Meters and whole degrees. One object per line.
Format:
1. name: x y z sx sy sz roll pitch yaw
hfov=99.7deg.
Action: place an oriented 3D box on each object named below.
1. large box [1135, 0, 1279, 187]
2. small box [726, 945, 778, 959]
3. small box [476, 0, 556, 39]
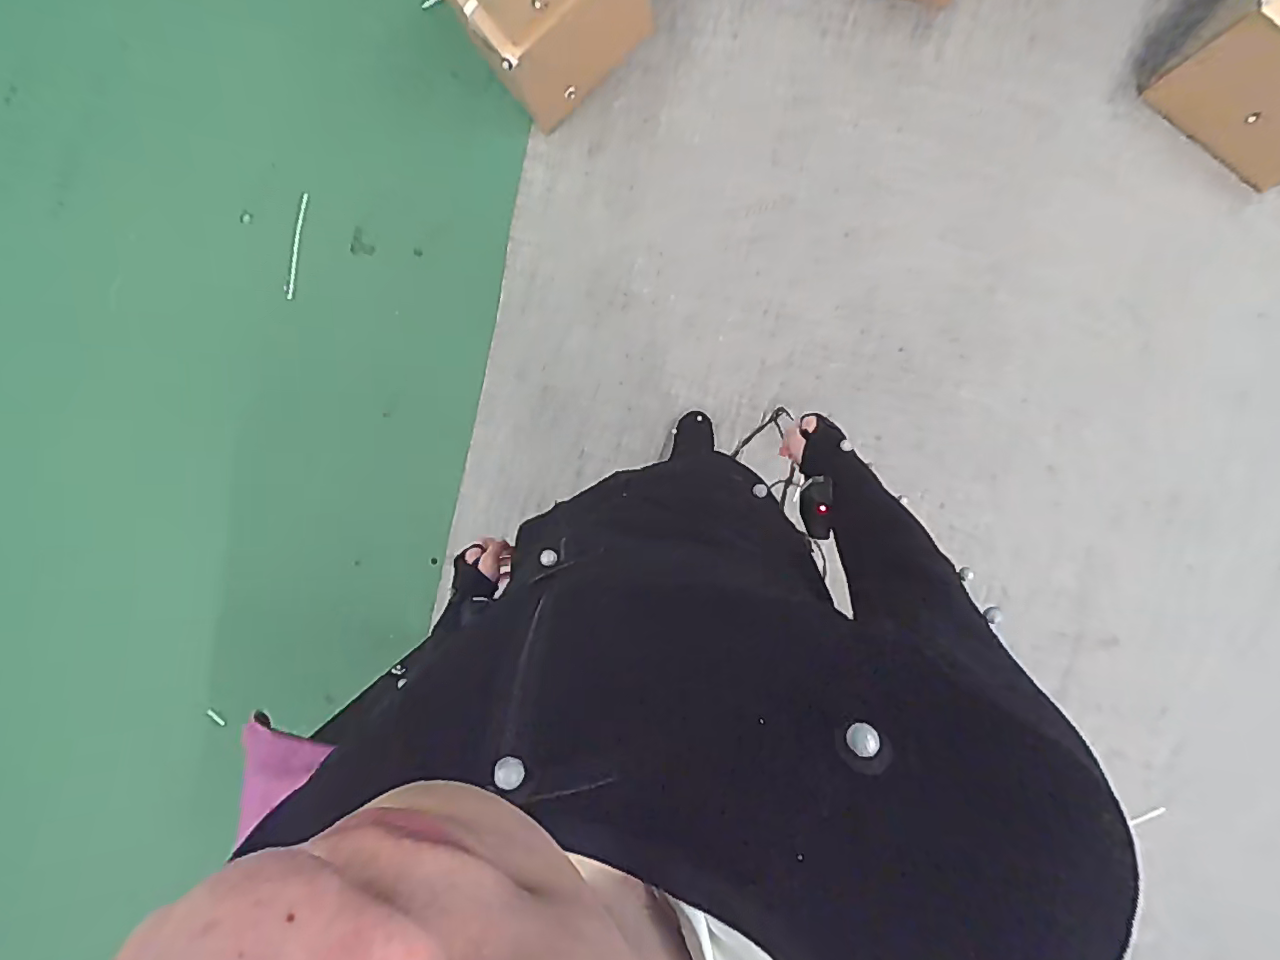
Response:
1. large box: 1.485 -0.953 1.203 0.408 0.320 0.320 38 98 1
2. small box: 0.211 0.926 0.886 0.168 0.176 0.179 14 99 4
3. small box: -0.286 -1.081 1.114 0.168 0.176 0.179 -41 93 9
